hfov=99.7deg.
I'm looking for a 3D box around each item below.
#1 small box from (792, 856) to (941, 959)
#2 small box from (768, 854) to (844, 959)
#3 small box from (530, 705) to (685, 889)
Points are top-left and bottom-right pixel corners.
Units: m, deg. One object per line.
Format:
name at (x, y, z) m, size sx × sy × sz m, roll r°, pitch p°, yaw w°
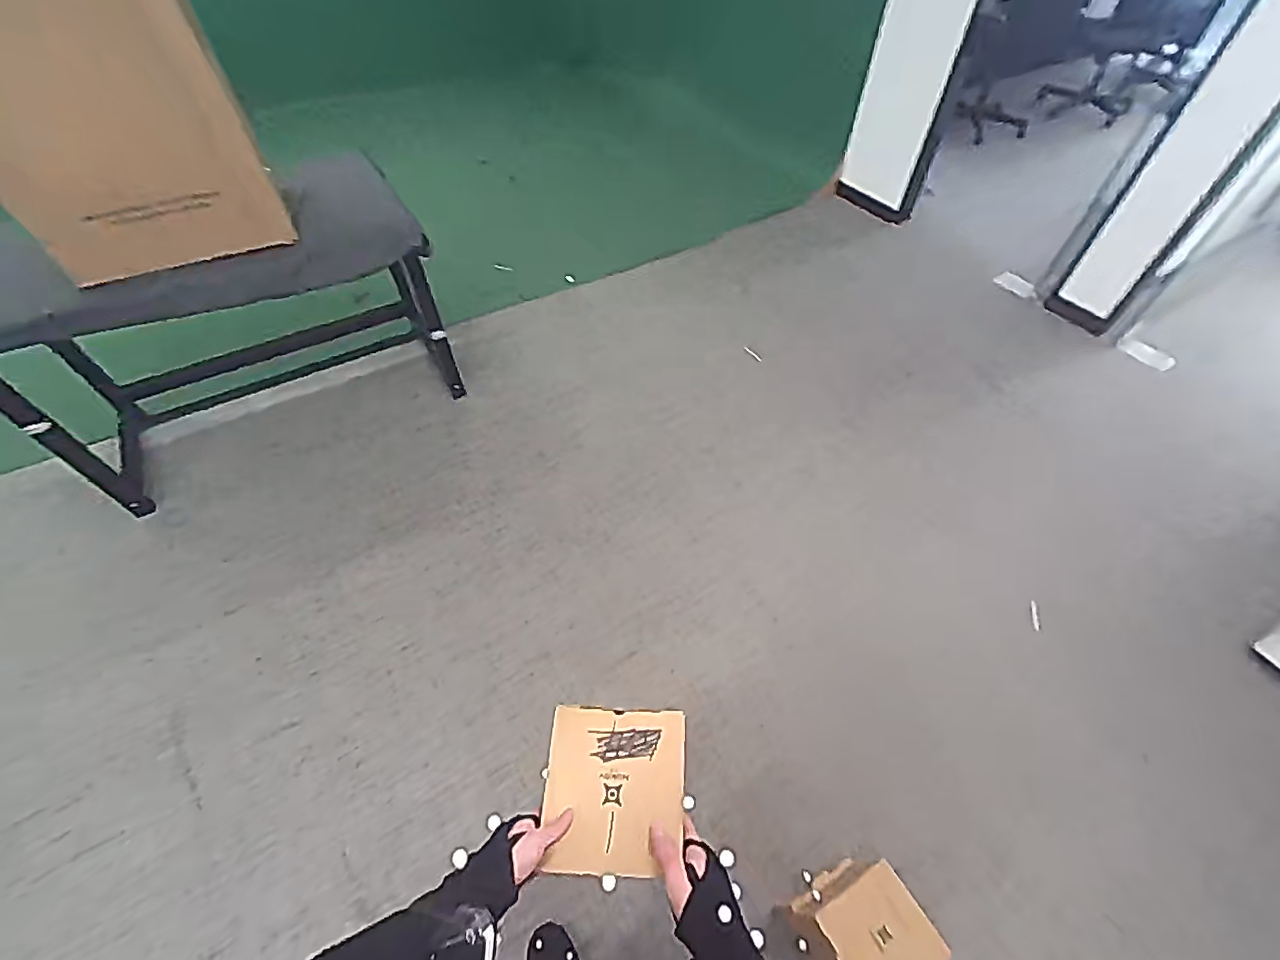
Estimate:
small box at (0.410, 0.849, 1.017) m, size 0.179 × 0.176 × 0.168 m, roll -24°, pitch 59°, yaw -21°
small box at (0.403, 0.953, 1.166) m, size 0.168 × 0.176 × 0.179 m, roll -25°, pitch 58°, yaw -22°
small box at (-0.032, 0.409, 0.700) m, size 0.168 × 0.176 × 0.179 m, roll 3°, pitch 56°, yaw 4°
